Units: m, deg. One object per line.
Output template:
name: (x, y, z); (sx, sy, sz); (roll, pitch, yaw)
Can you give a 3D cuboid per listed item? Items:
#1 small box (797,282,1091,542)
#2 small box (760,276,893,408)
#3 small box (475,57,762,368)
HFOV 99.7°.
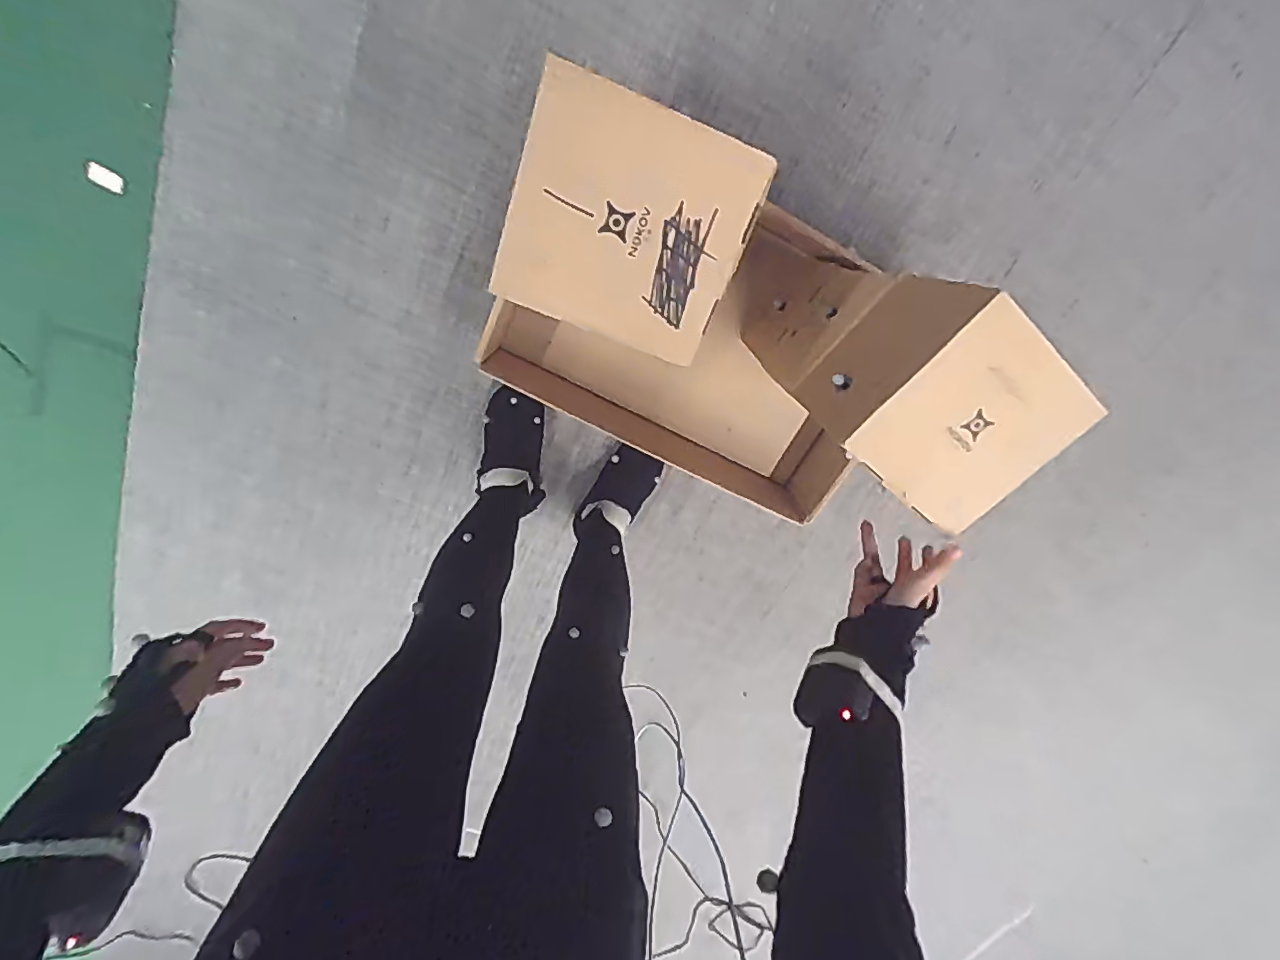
small box: (0.284, -0.077, 0.555); (0.168, 0.176, 0.179); (38, 109, -17)
small box: (0.281, -0.144, 0.704); (0.179, 0.176, 0.168); (36, 110, -15)
small box: (-0.017, -0.222, 0.478); (0.179, 0.176, 0.168); (21, 113, -6)
